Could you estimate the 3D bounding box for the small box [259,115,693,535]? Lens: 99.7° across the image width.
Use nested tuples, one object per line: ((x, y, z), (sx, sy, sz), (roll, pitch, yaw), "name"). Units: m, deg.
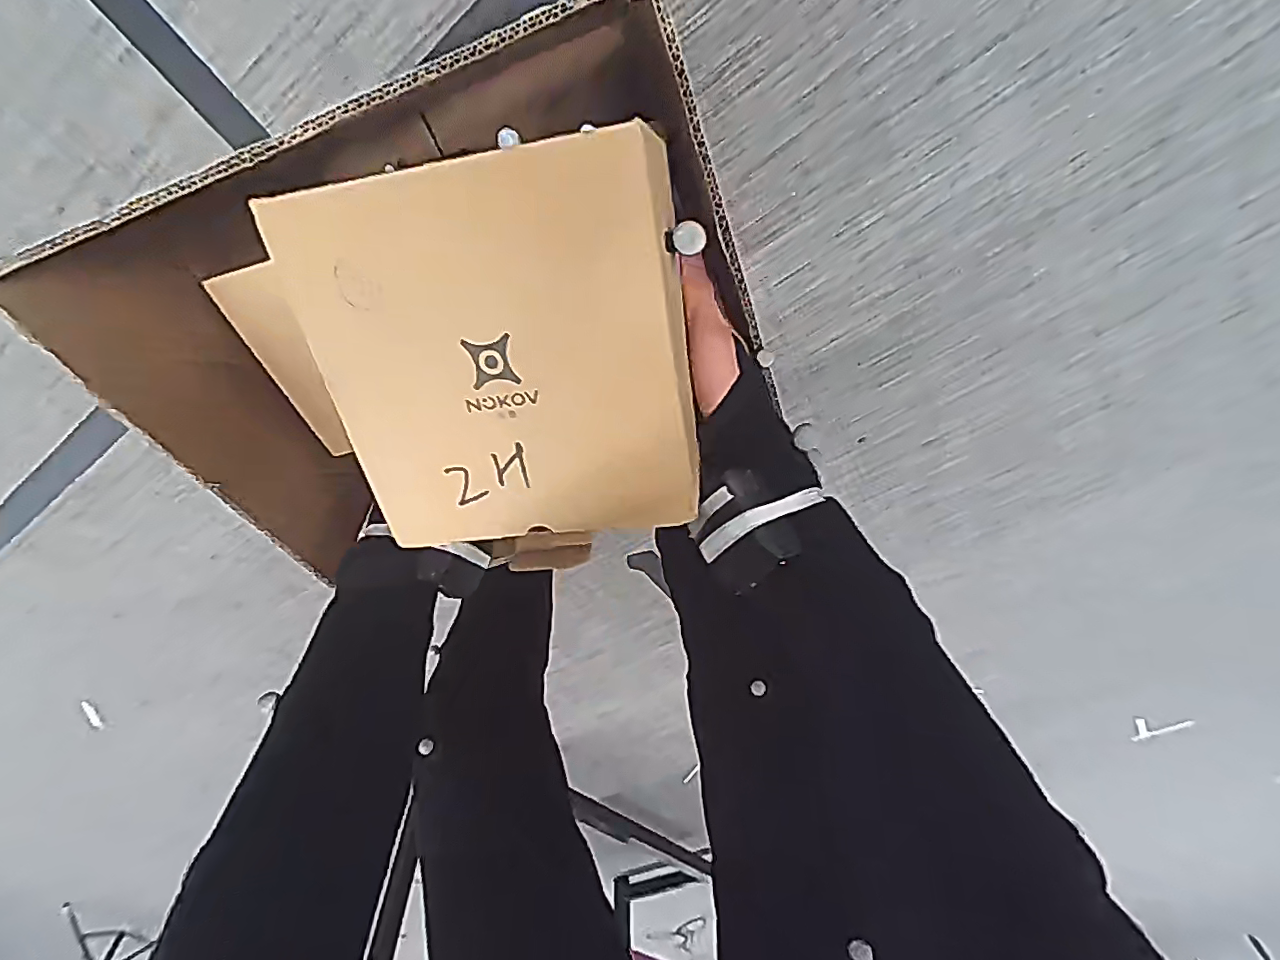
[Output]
((-0.059, -0.089, 0.320), (0.168, 0.176, 0.179), (-5, 118, 11), "small box")
